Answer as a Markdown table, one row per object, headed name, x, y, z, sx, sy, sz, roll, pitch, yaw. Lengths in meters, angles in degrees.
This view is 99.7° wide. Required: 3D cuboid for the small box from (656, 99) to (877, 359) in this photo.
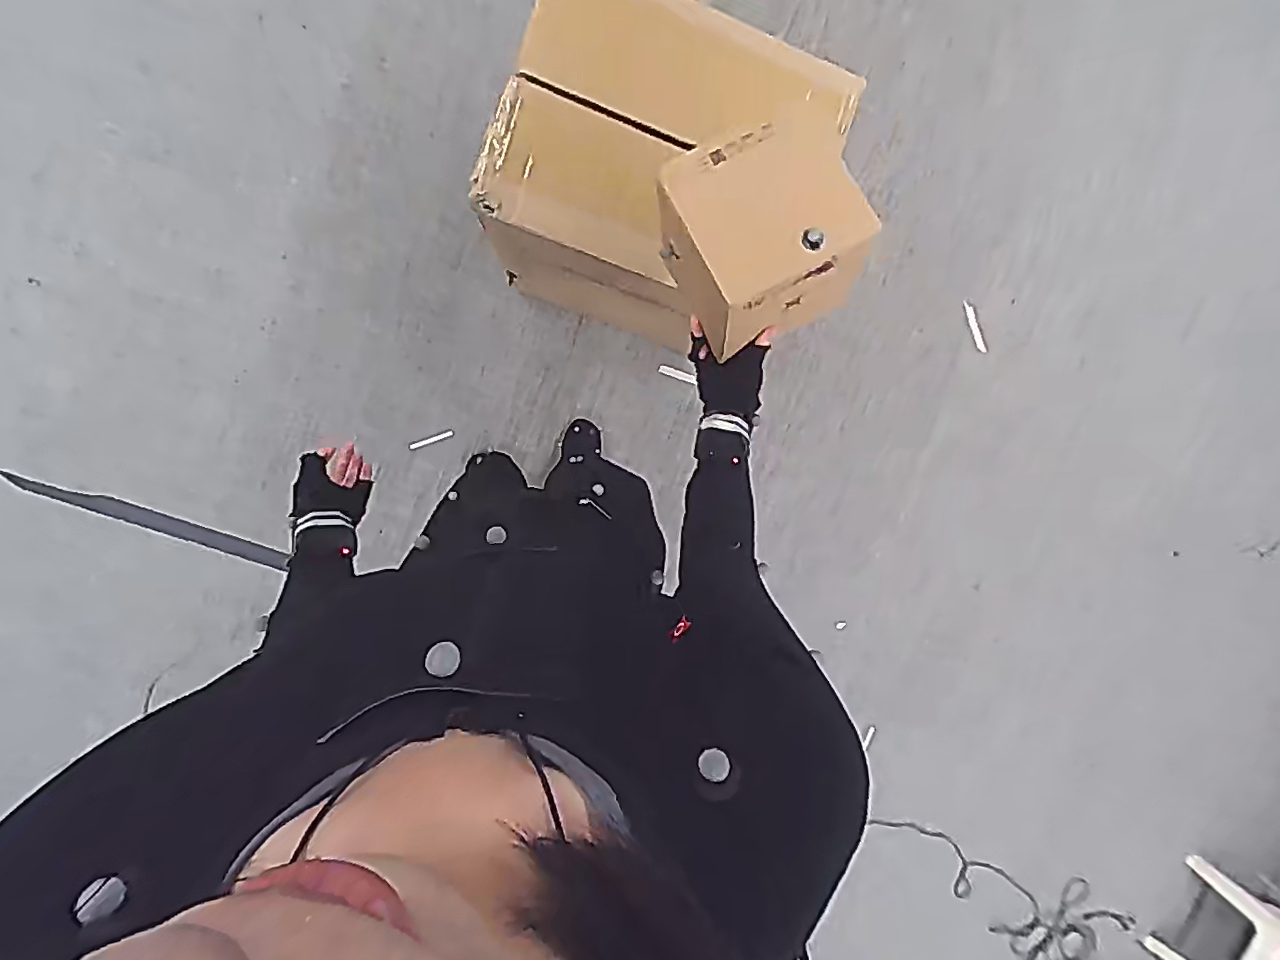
| name | x | y | z | sx | sy | sz | roll | pitch | yaw |
| --- | --- | --- | --- | --- | --- | --- | --- | --- | --- |
| small box | 0.129 | -0.271 | 0.614 | 0.168 | 0.179 | 0.176 | -27 | 80 | 1 |
